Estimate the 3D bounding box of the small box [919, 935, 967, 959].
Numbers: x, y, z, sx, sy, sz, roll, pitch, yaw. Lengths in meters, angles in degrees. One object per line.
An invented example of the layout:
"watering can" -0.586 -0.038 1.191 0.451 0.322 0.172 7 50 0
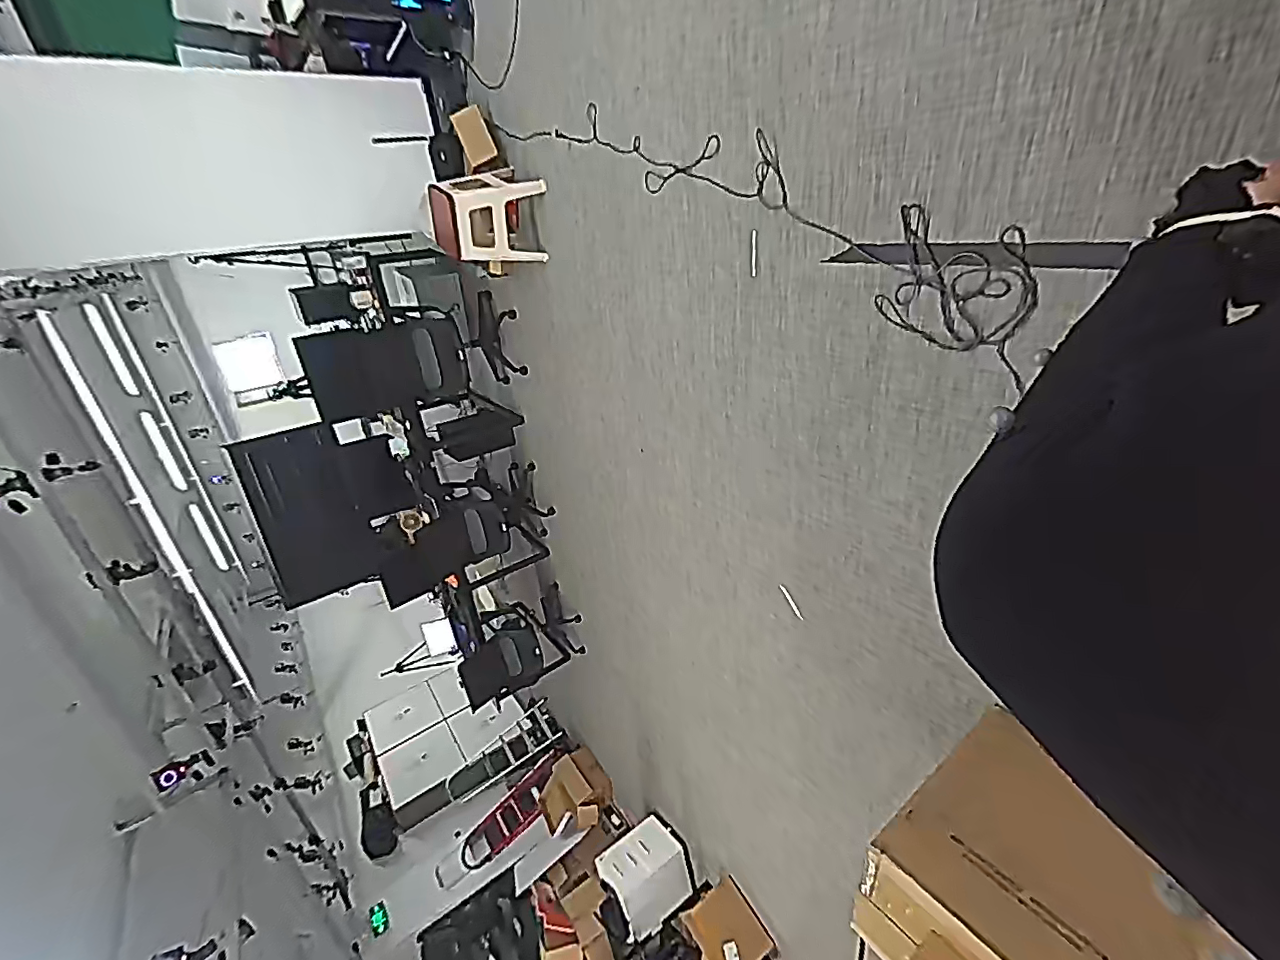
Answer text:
"small box" 0.648 1.119 1.124 0.179 0.176 0.168 32 134 48
